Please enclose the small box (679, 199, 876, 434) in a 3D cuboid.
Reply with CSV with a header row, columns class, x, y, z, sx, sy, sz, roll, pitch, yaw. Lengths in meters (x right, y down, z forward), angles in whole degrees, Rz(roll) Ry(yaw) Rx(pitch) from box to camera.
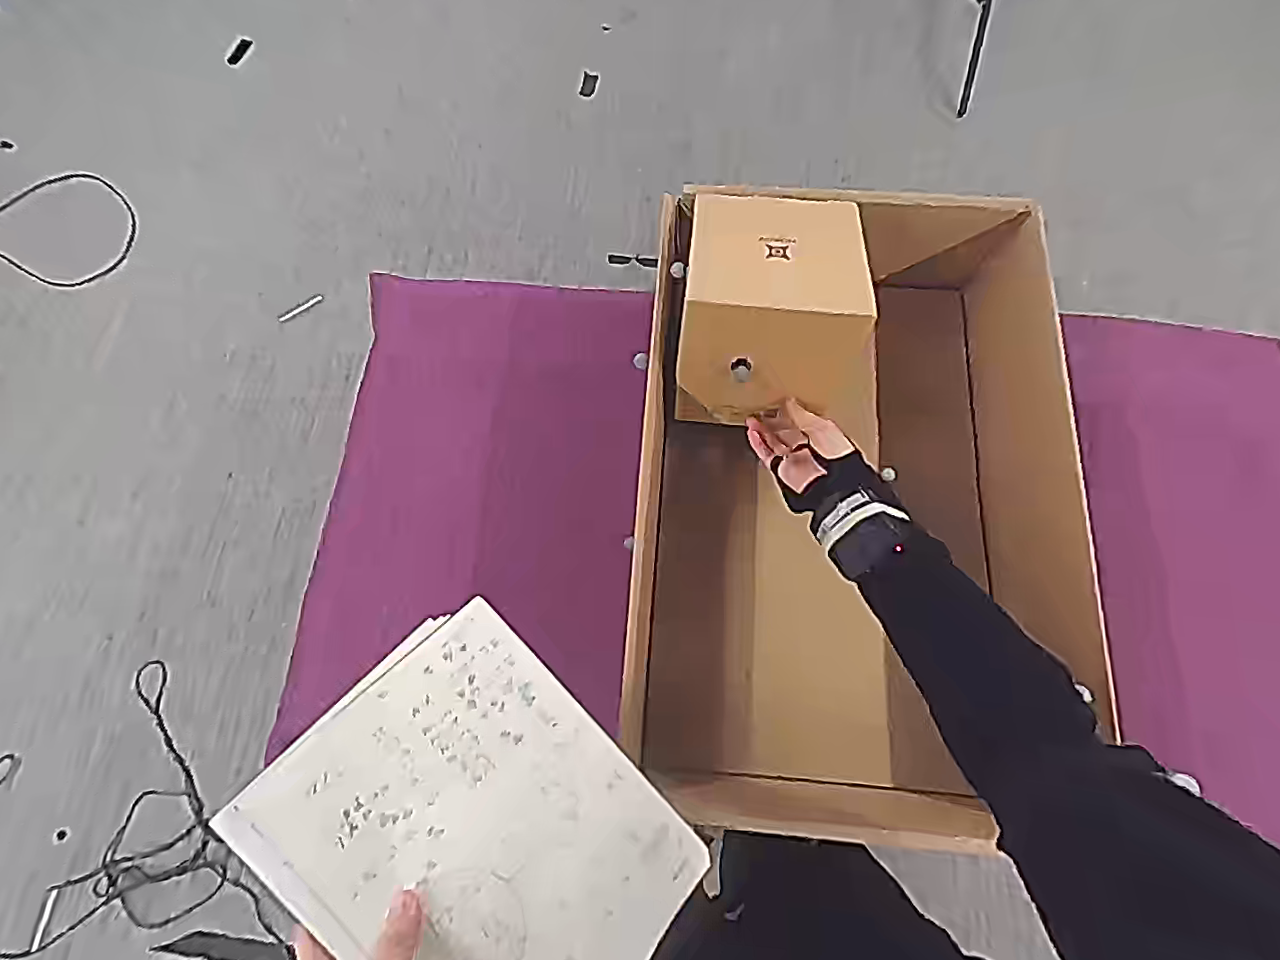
class,x,y,z,sx,sy,sz,roll,pitch,yaw
small box,0.131,-0.167,0.575,0.168,0.176,0.179,5,58,3
